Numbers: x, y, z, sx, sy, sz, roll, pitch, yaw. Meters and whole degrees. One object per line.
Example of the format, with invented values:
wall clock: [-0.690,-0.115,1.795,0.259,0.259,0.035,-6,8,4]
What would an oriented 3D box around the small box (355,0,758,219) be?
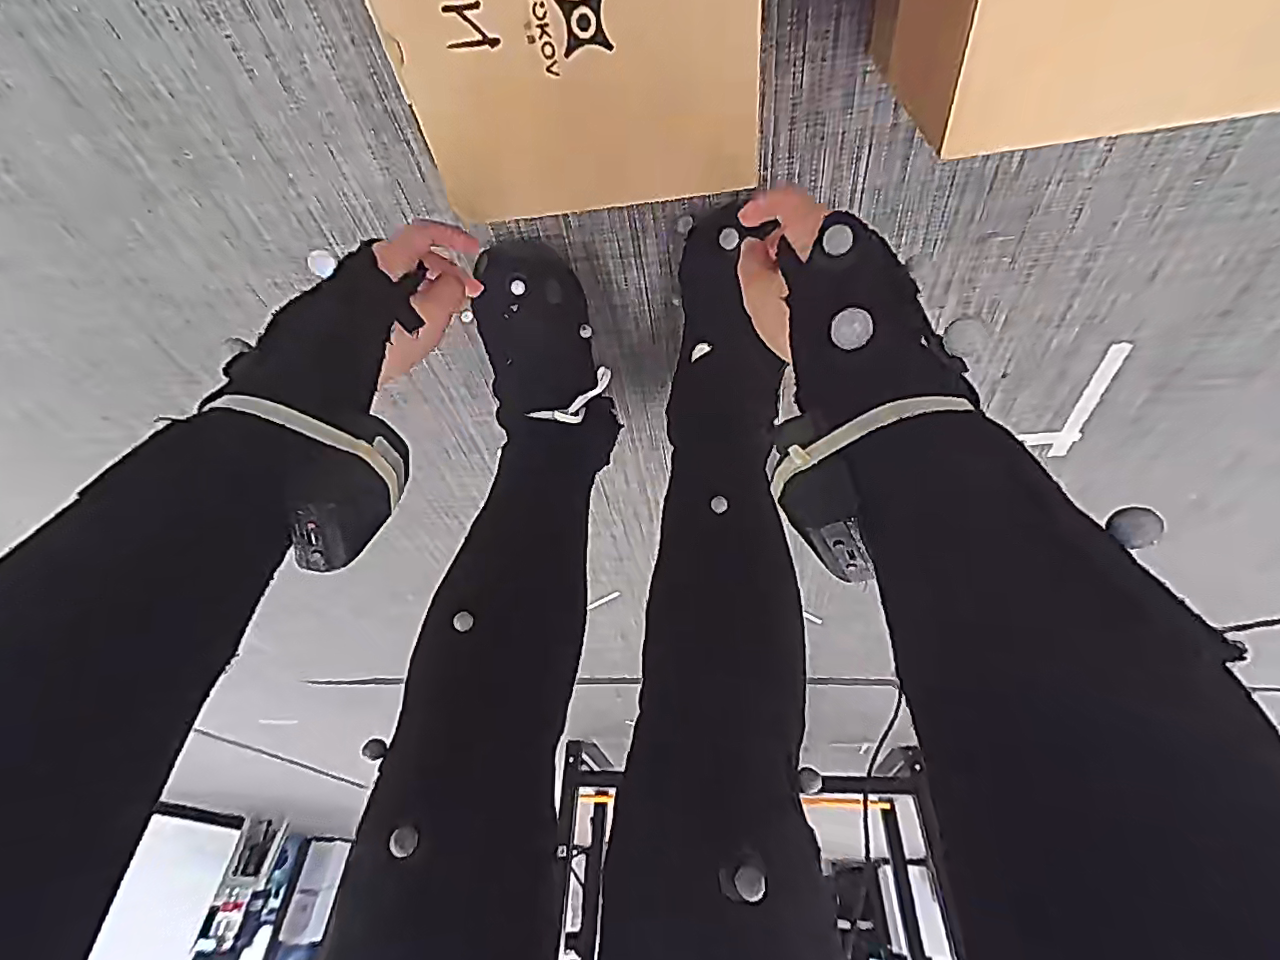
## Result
small box: [-0.034,-0.267,0.286,0.179,0.176,0.168,-3,141,7]
